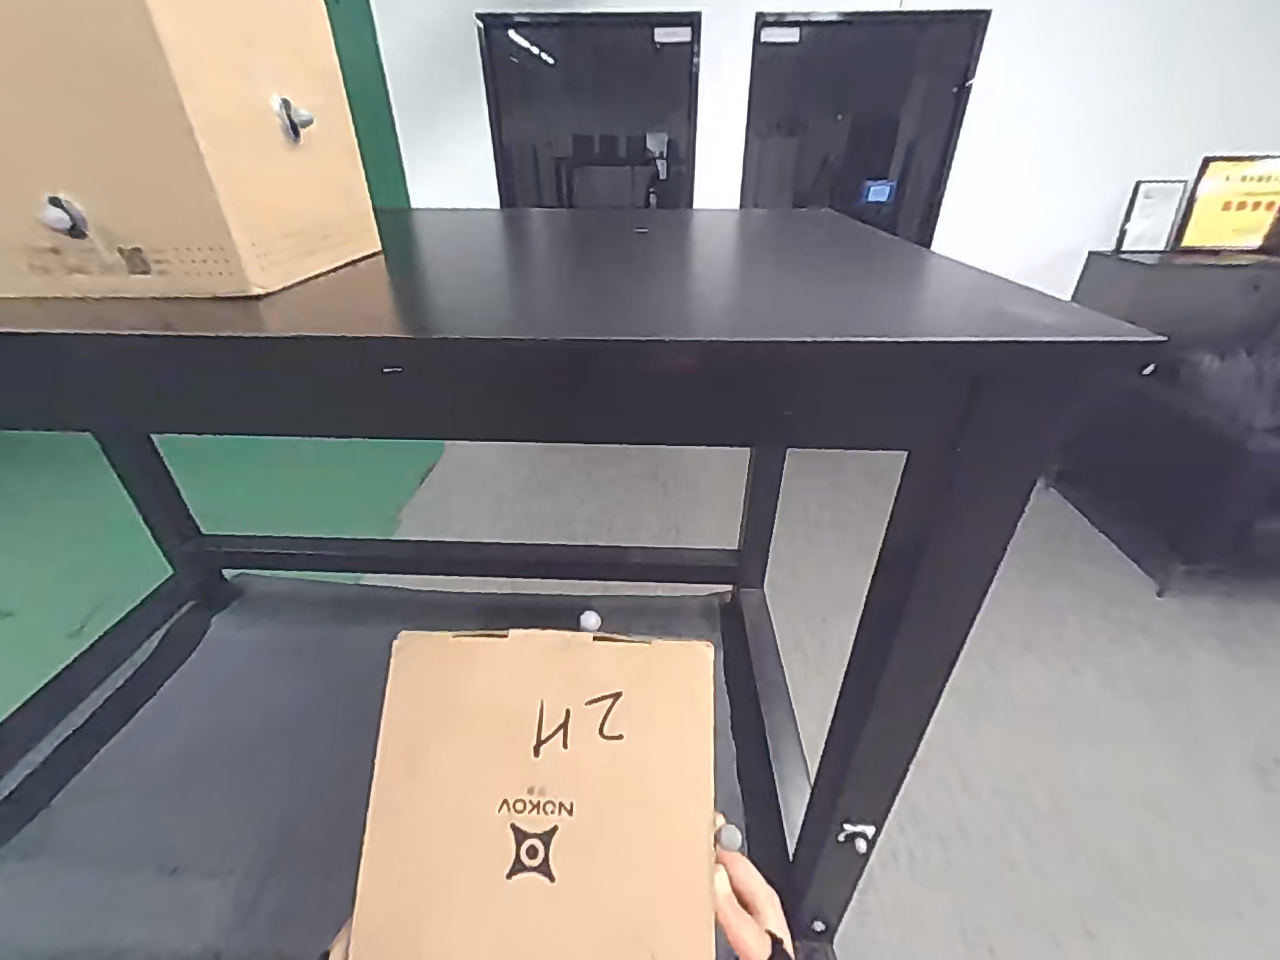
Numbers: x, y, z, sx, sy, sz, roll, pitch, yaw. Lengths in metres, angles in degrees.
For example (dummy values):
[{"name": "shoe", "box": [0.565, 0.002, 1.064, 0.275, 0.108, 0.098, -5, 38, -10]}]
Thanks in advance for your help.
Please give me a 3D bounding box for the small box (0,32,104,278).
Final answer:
[{"name": "small box", "box": [-0.537, -0.219, 0.358, 0.168, 0.176, 0.179, 2, 31, 4]}]
